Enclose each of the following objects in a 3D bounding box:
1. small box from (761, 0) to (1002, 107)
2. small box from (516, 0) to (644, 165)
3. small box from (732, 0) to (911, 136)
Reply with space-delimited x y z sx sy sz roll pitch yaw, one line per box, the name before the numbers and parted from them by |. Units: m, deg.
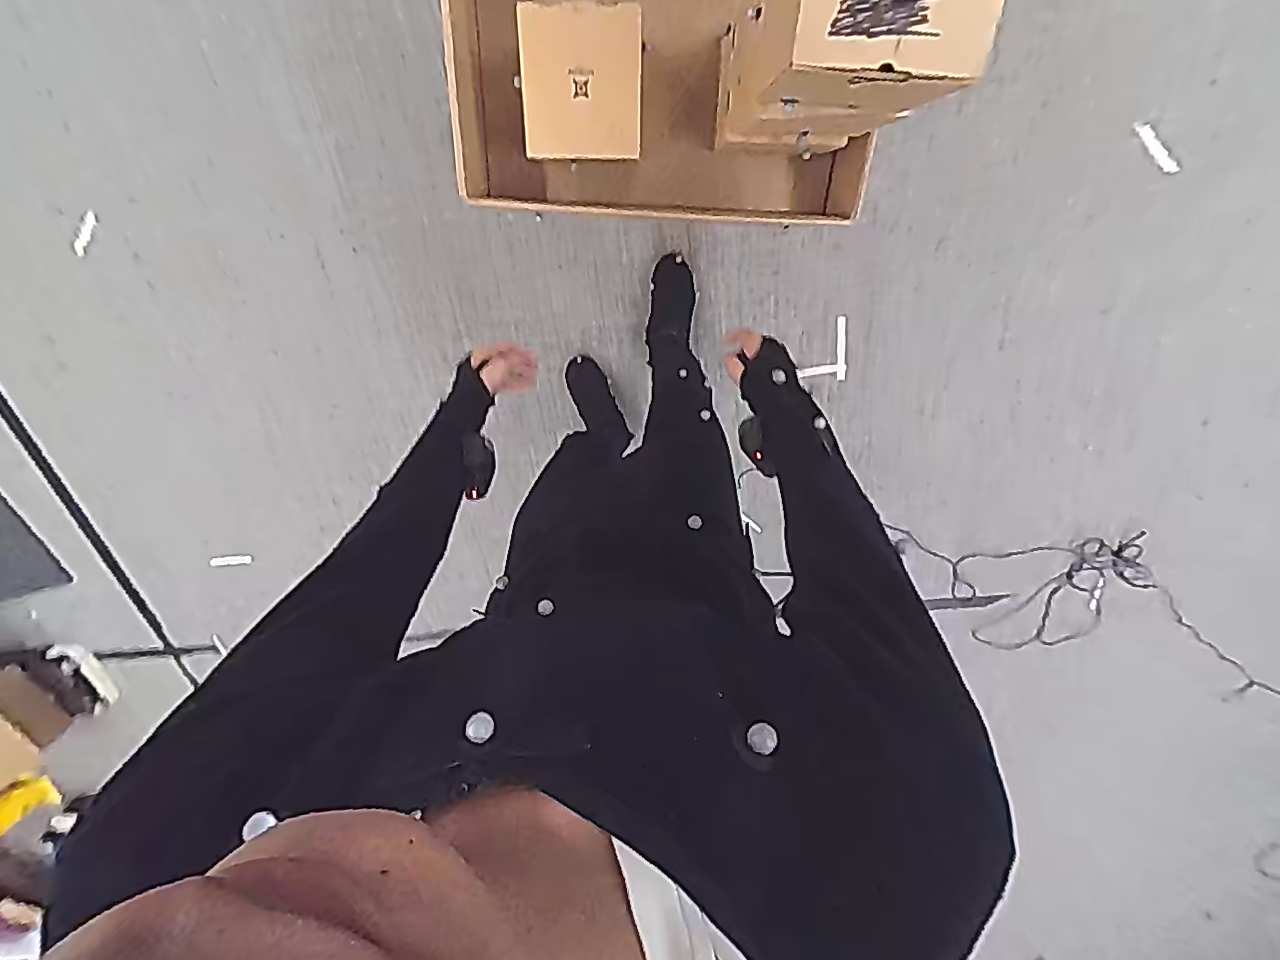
small box | 0.213 -0.455 0.486 0.168 0.176 0.179 4 116 -1
small box | -0.079 -0.575 0.803 0.168 0.176 0.179 1 116 1
small box | 0.215 -0.516 0.640 0.179 0.176 0.168 0 117 0
